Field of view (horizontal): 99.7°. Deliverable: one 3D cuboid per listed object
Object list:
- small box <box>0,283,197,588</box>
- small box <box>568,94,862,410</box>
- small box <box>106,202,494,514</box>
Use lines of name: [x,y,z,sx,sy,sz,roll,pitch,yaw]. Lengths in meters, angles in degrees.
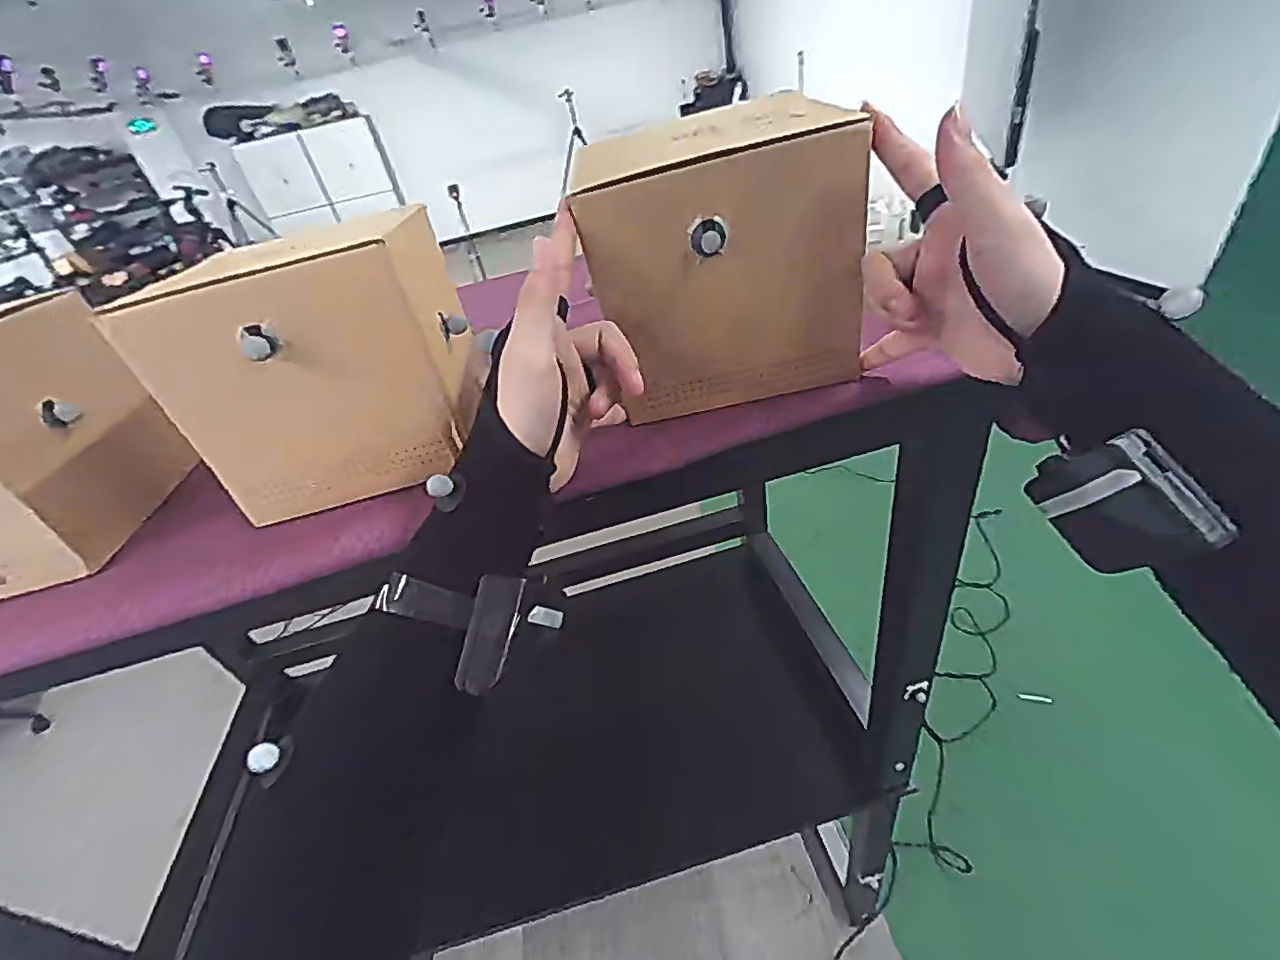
small box: [-0.499,-0.026,0.413,0.168,0.176,0.179,-15,35,-4]
small box: [0.056,-0.173,0.420,0.179,0.176,0.168,-11,40,6]
small box: [-0.227,-0.099,0.428,0.179,0.176,0.168,-16,35,-2]
